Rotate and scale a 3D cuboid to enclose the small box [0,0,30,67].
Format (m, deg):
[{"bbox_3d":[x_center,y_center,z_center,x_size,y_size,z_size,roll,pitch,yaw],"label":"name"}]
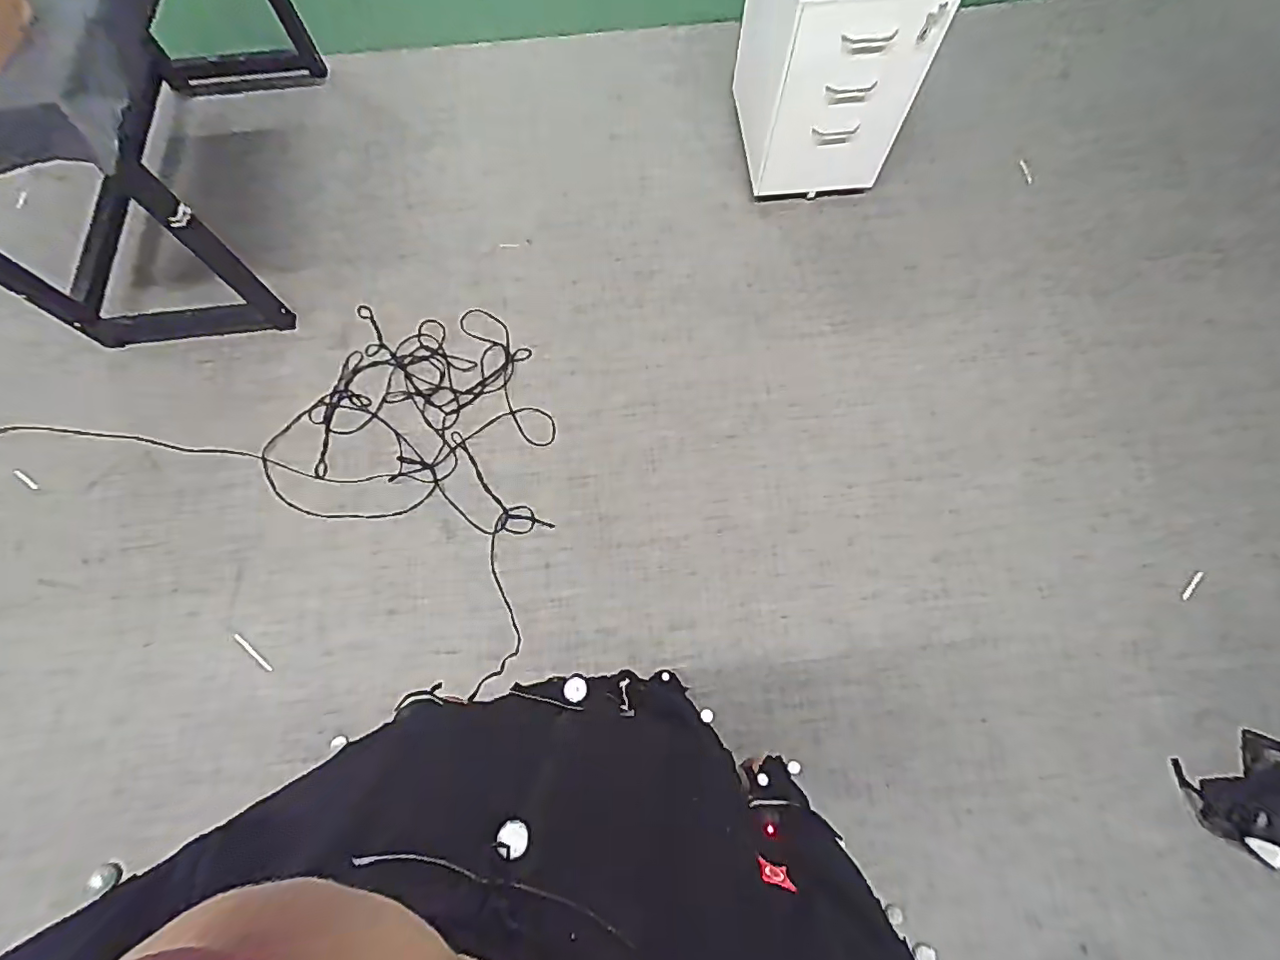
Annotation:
[{"bbox_3d":[-1.265,-0.855,0.955,0.168,0.176,0.179,1,70,0],"label":"small box"}]
